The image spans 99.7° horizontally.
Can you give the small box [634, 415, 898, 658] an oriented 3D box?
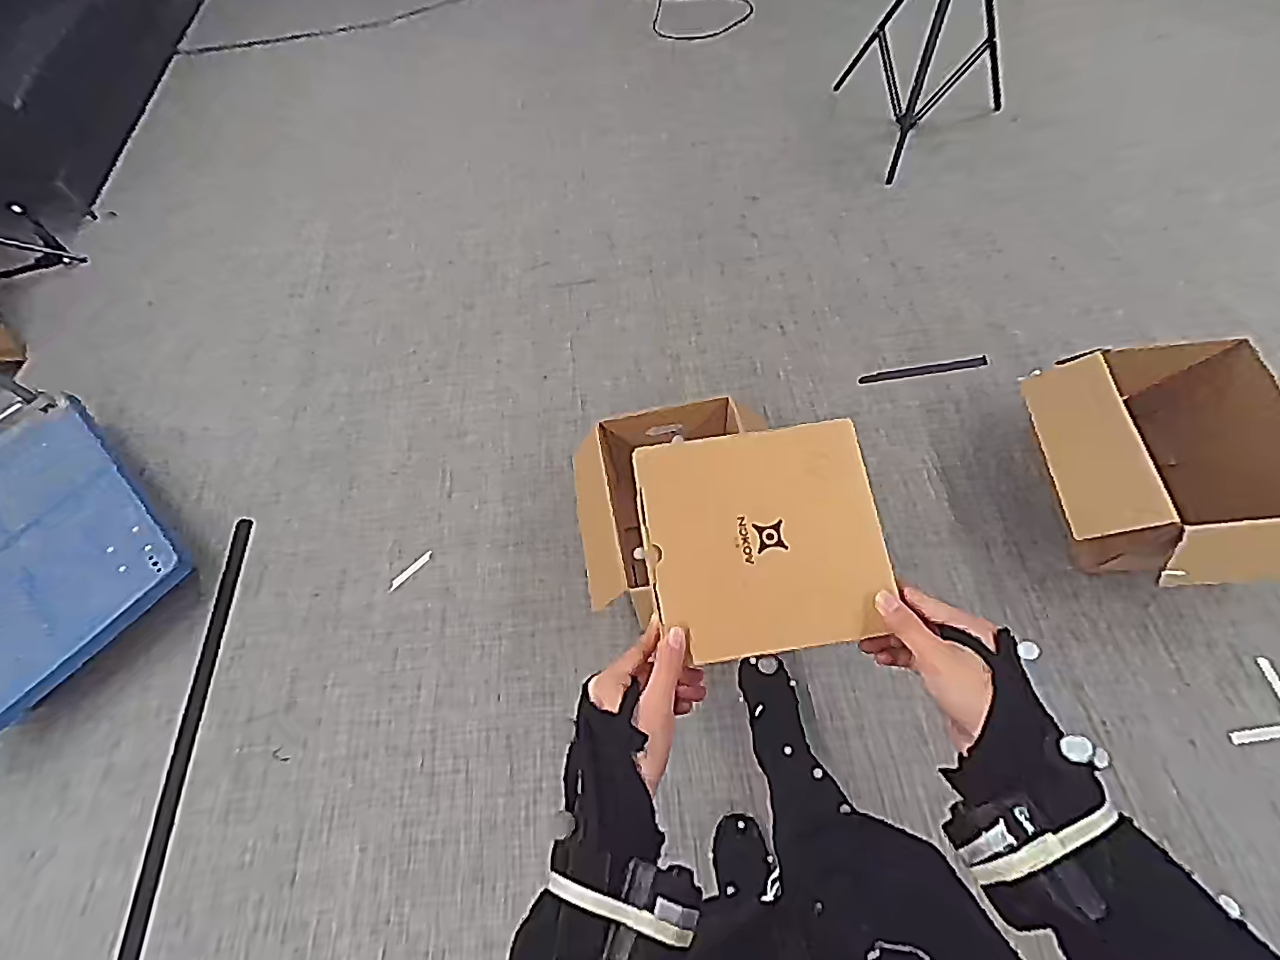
[{"bbox_3d":[0.092,0.056,0.484,0.179,0.176,0.168,-9,76,0],"label":"small box"}]
